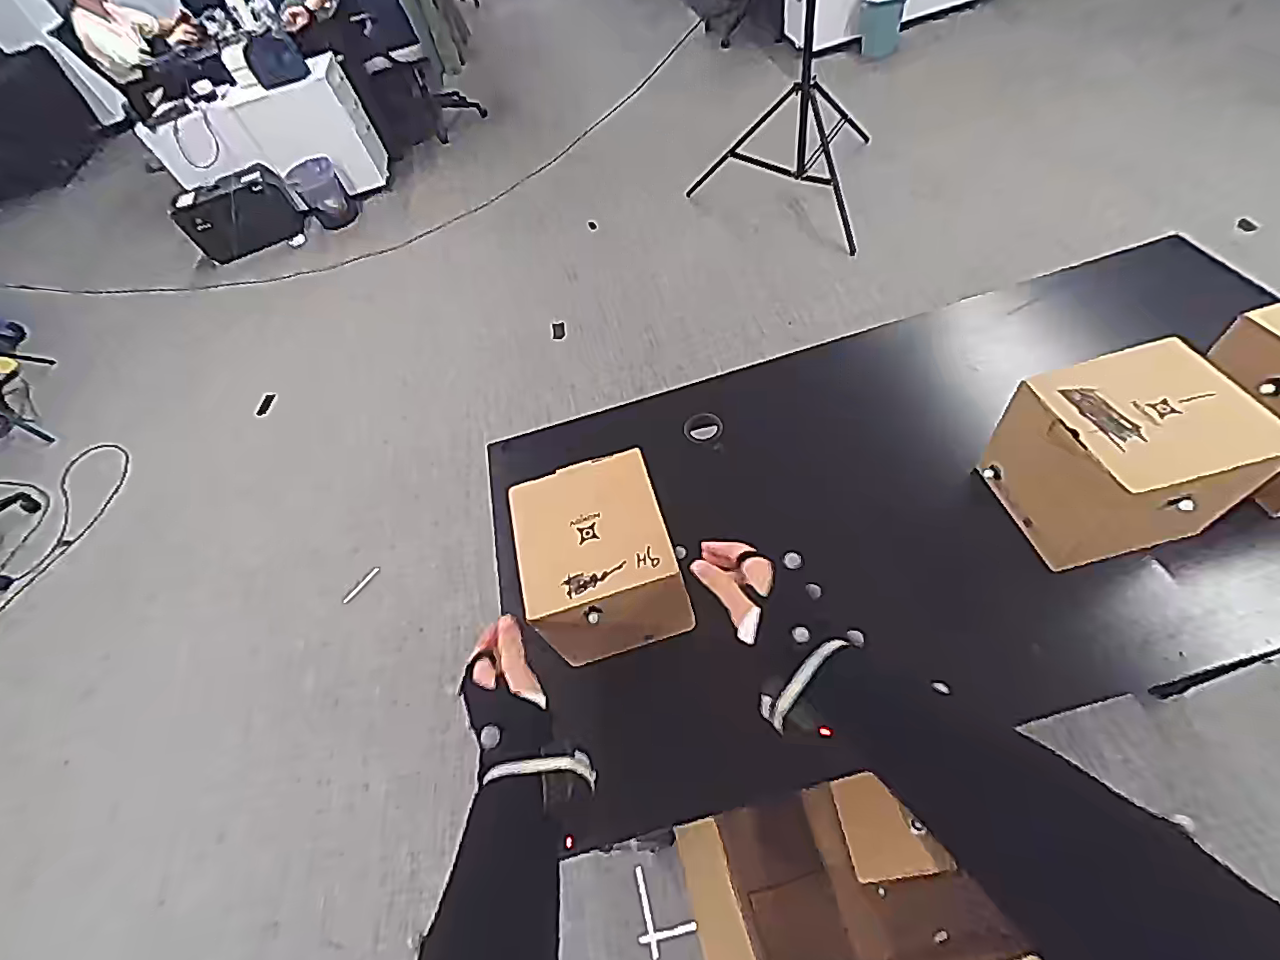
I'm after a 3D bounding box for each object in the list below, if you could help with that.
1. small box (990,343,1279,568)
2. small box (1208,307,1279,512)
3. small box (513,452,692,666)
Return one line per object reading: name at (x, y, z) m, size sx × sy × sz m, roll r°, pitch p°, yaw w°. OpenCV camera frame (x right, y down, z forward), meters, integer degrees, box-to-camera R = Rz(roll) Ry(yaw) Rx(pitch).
small box at (0.534, -0.020, 0.611) m, size 0.179 × 0.176 × 0.168 m, roll -15°, pitch 54°, yaw 2°
small box at (0.770, -0.087, 0.601) m, size 0.168 × 0.176 × 0.179 m, roll -16°, pitch 53°, yaw 3°
small box at (-0.043, 0.100, 0.660) m, size 0.168 × 0.176 × 0.179 m, roll -17°, pitch 53°, yaw 0°
